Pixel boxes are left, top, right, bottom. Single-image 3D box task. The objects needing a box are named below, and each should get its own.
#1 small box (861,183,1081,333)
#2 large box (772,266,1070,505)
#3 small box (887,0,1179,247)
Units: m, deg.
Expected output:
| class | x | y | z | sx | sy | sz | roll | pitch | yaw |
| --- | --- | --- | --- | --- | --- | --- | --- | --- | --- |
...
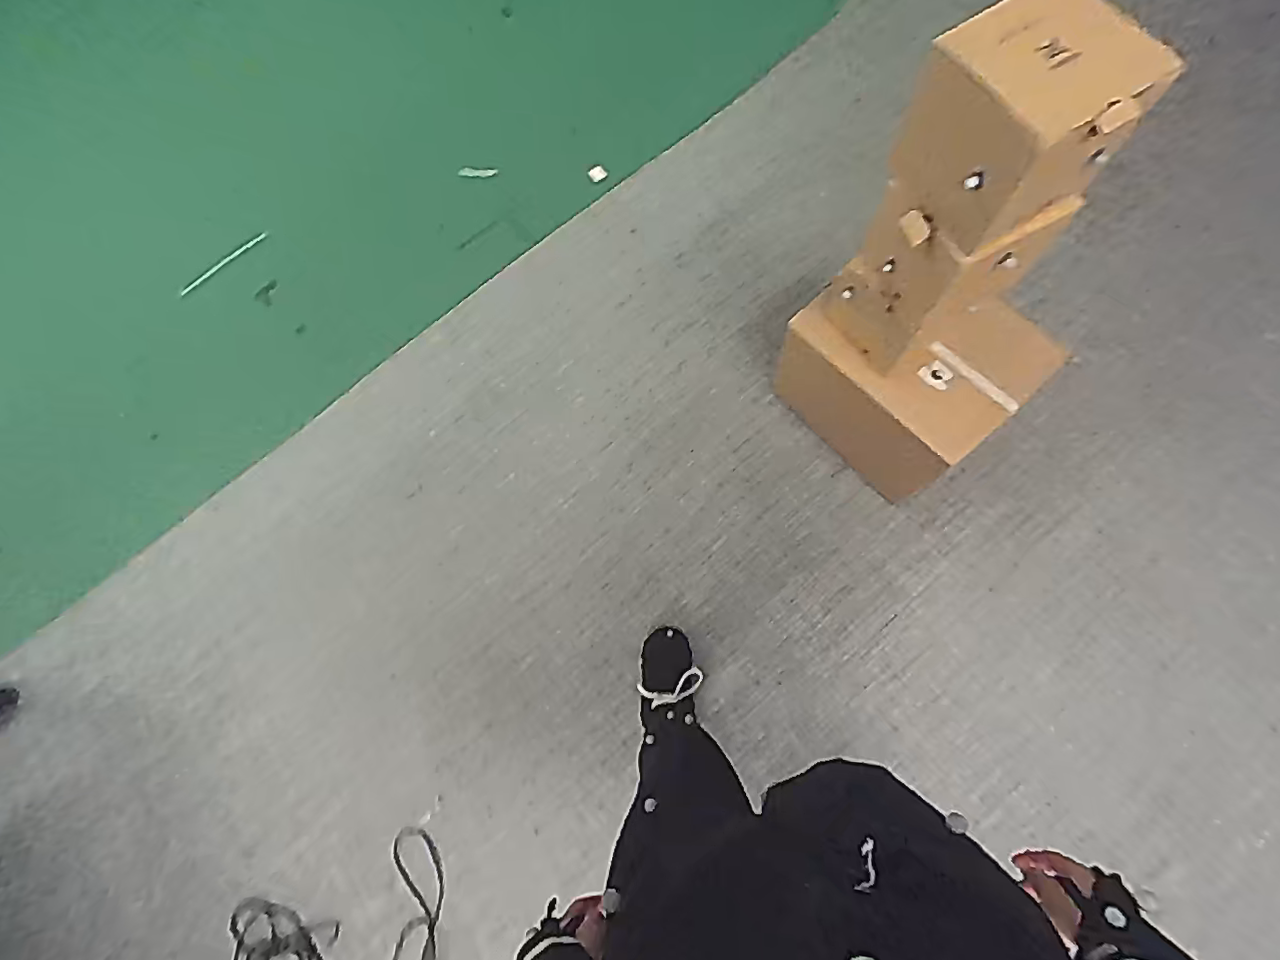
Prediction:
| class | x | y | z | sx | sy | sz | roll | pitch | yaw |
| --- | --- | --- | --- | --- | --- | --- | --- | --- | --- |
| small box | 0.453 | -0.347 | 0.776 | 0.179 | 0.176 | 0.168 | -28 | 73 | -1 |
| large box | 0.548 | -0.215 | 1.151 | 0.320 | 0.320 | 0.408 | -41 | 75 | -4 |
| small box | 0.426 | -0.403 | 0.625 | 0.168 | 0.176 | 0.179 | -30 | 72 | -3 |
